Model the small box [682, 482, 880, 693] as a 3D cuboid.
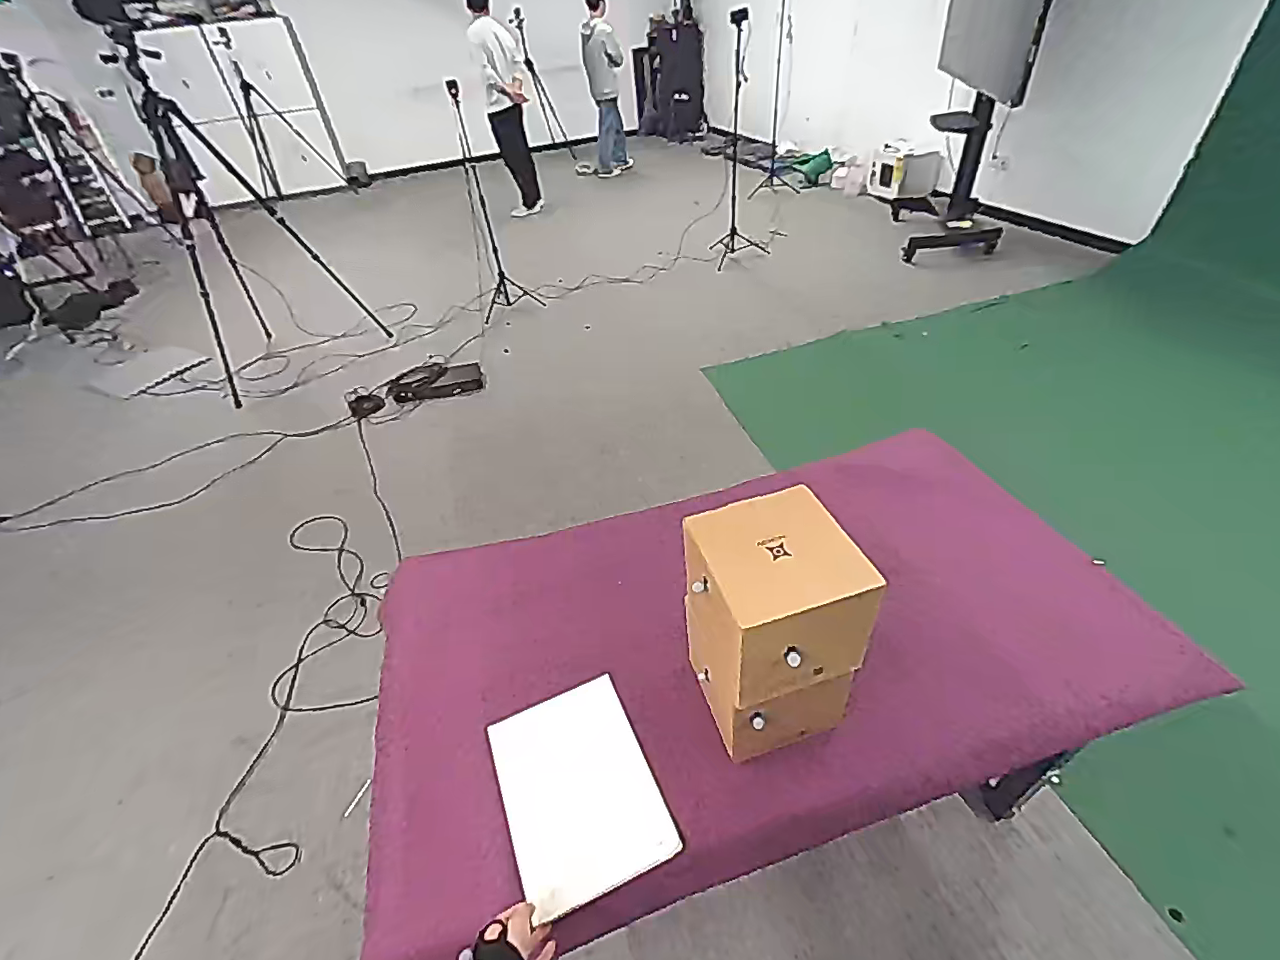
[{"bbox_3d":[0.161,0.136,0.664,0.168,0.176,0.179,-15,40,-9],"label":"small box"}]
